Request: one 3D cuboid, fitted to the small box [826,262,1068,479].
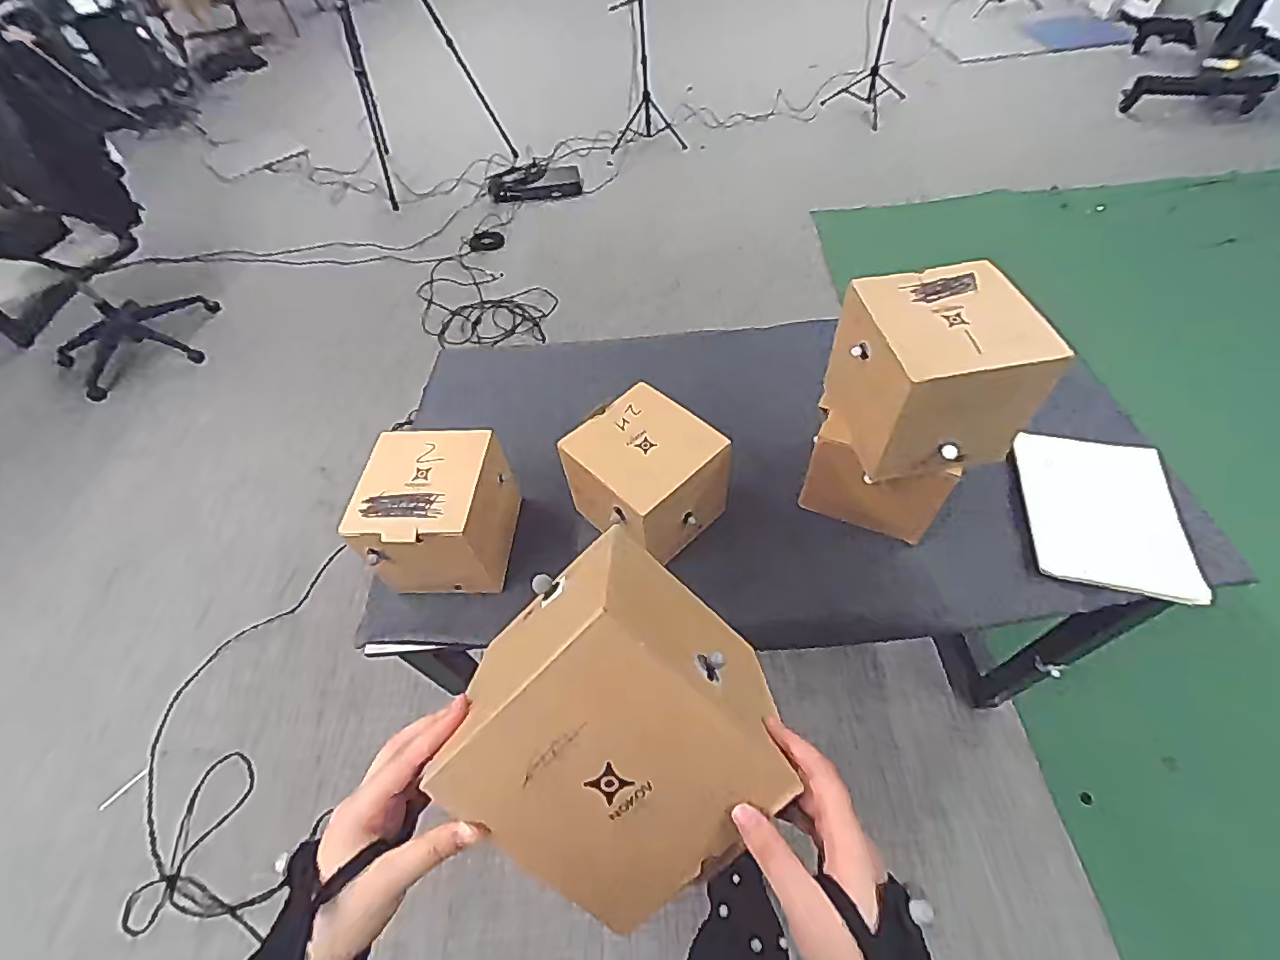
[{"bbox_3d":[0.337,-0.126,0.642,0.168,0.176,0.179,-9,53,0],"label":"small box"}]

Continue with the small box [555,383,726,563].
[{"bbox_3d":[0.006,-0.002,0.788,0.168,0.176,0.179,-39,59,-22],"label":"small box"}]

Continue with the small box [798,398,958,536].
[{"bbox_3d":[0.347,-0.041,0.784,0.179,0.176,0.168,19,58,19],"label":"small box"}]

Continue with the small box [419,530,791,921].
[{"bbox_3d":[-0.022,0.164,0.413,0.179,0.176,0.168,43,98,-9],"label":"small box"}]
